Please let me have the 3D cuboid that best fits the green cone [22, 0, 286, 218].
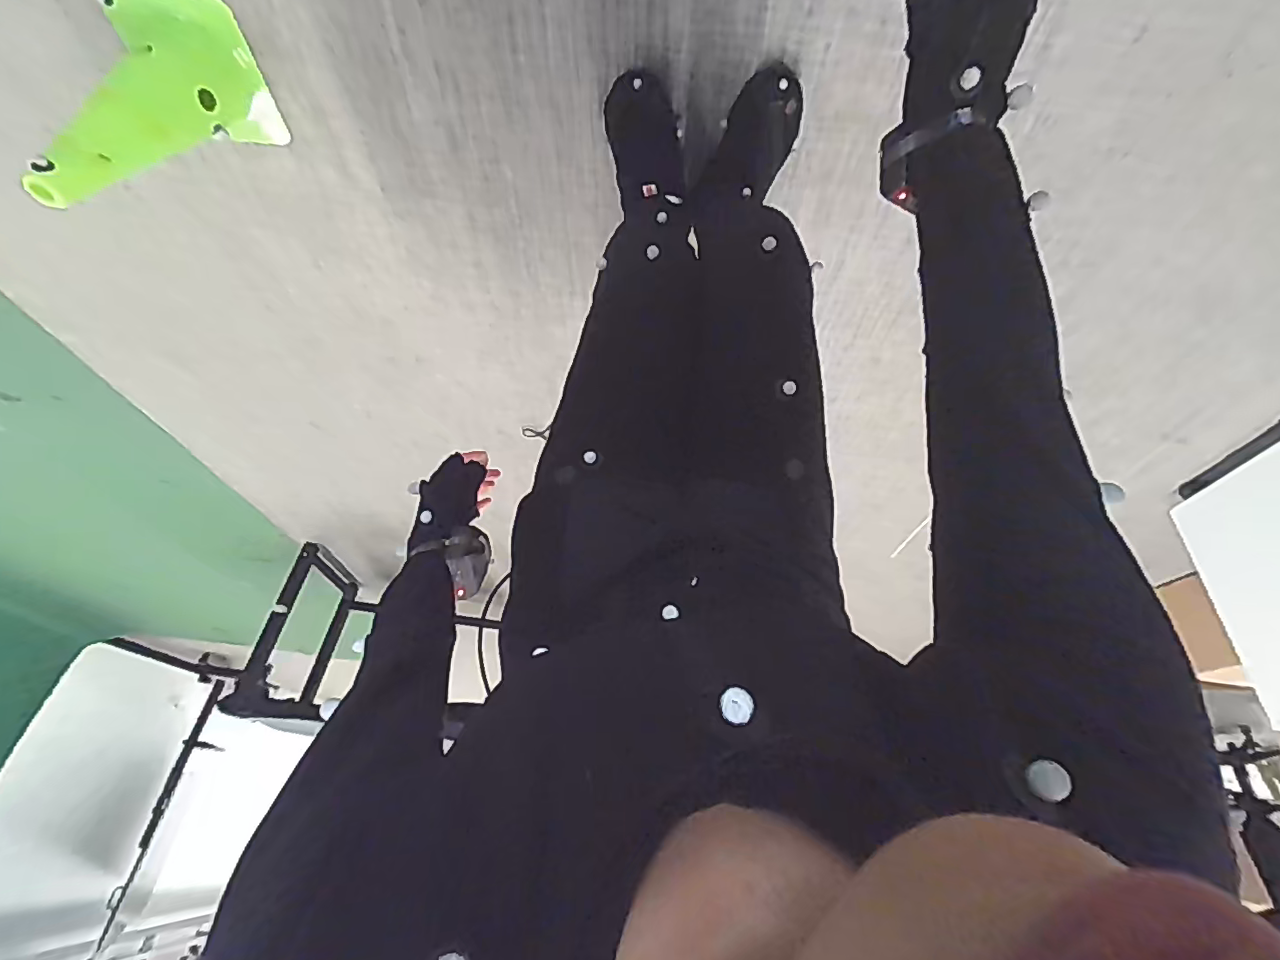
[{"bbox_3d":[-0.709,-0.483,0.752,0.202,0.368,0.200,5,148,3],"label":"green cone"}]
